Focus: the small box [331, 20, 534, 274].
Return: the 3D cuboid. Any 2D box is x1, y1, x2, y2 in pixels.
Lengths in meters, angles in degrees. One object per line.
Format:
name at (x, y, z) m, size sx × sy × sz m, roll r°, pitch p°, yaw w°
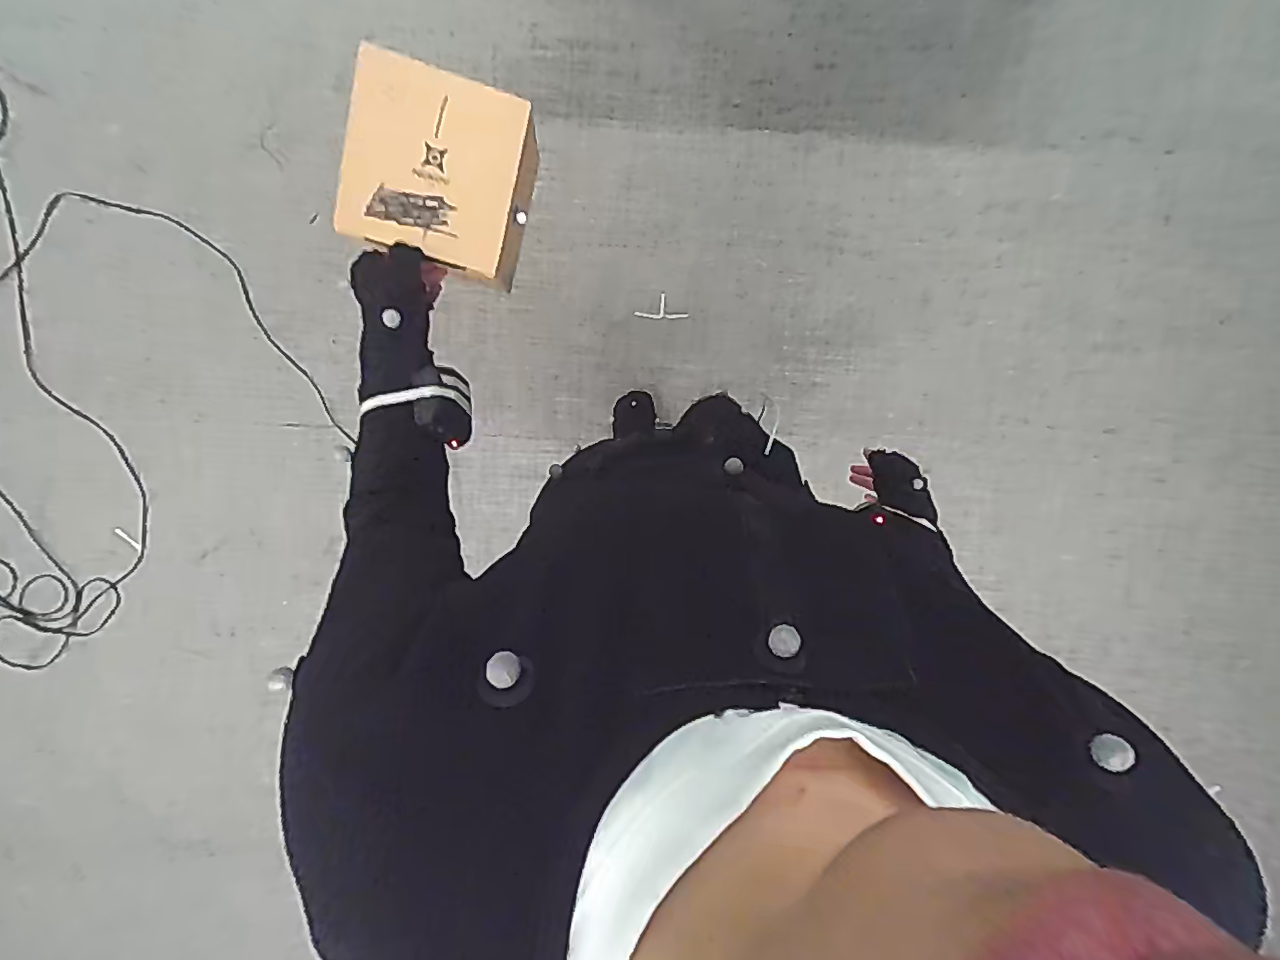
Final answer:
small box at (-0.220, -0.349, 0.613) m, size 0.168 × 0.176 × 0.179 m, roll 14°, pitch 101°, yaw -12°
